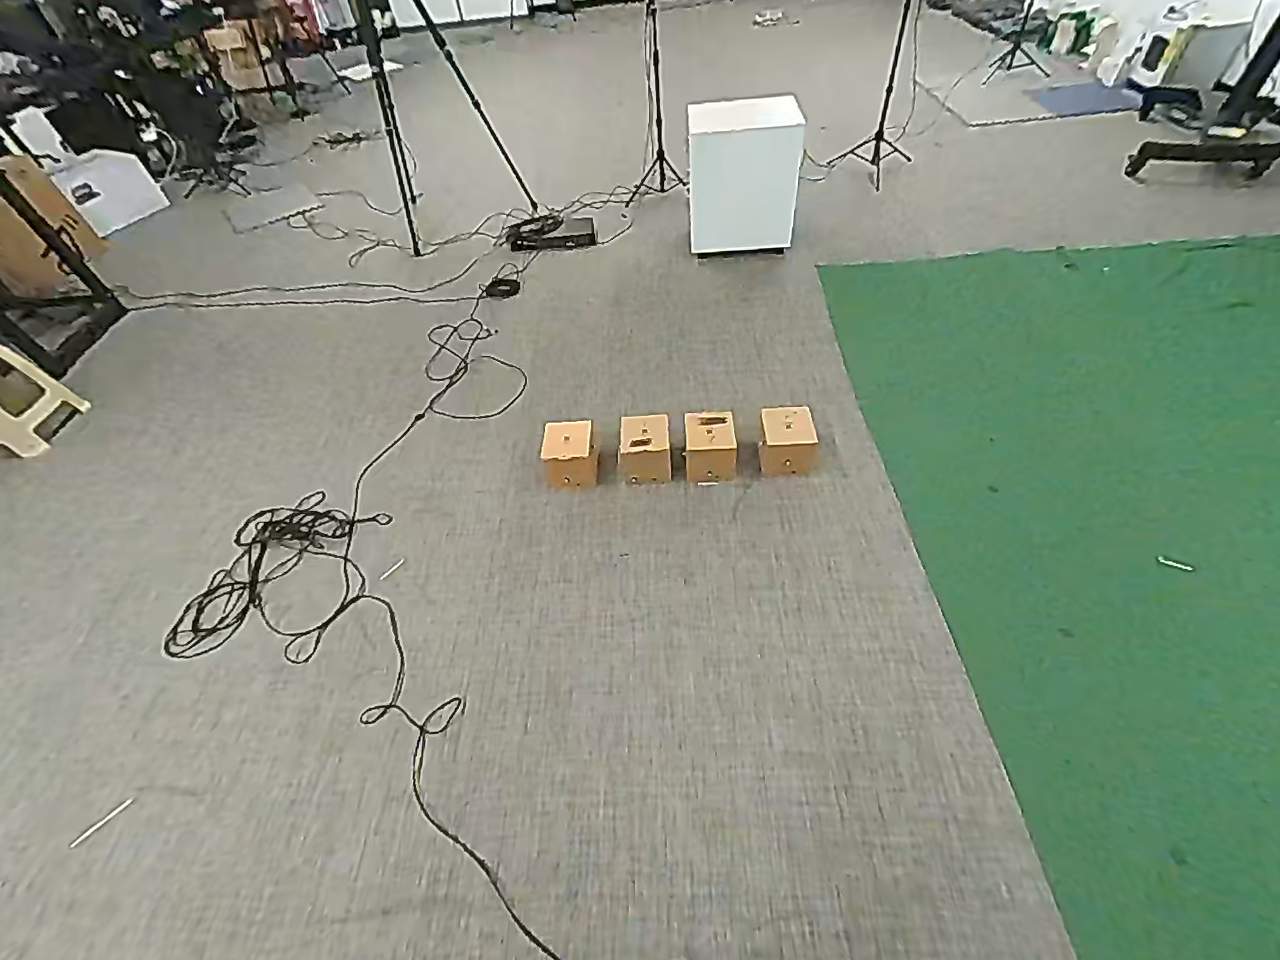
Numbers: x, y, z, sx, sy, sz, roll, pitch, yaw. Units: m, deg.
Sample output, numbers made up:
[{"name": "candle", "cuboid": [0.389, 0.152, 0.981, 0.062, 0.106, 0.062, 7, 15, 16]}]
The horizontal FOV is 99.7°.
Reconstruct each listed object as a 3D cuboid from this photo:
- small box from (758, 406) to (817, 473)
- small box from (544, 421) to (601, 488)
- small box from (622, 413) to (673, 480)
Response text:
[{"name": "small box", "cuboid": [0.509, -0.135, 1.879, 0.168, 0.176, 0.179, -2, 50, 4]}, {"name": "small box", "cuboid": [-0.235, -0.090, 1.934, 0.168, 0.176, 0.179, -4, 50, 5]}, {"name": "small box", "cuboid": [0.030, -0.112, 1.915, 0.168, 0.176, 0.179, -4, 49, 4]}]
